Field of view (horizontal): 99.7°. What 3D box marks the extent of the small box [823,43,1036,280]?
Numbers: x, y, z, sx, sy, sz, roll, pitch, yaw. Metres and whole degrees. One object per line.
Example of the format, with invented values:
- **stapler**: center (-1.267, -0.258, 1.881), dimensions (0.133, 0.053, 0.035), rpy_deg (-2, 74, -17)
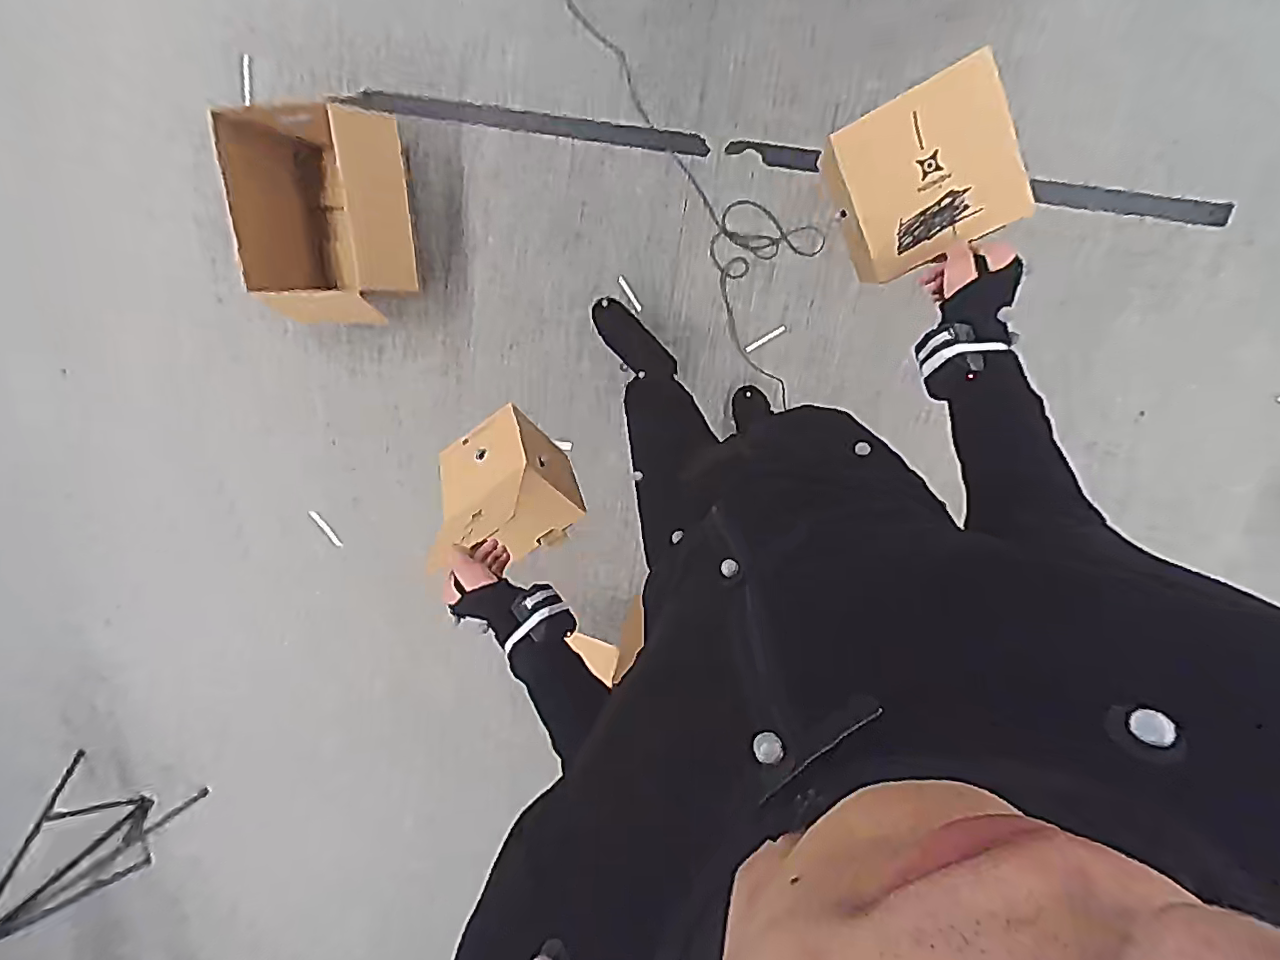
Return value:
- **small box**: center (0.335, -0.363, 0.657), dimensions (0.168, 0.176, 0.179), rpy_deg (-21, 103, 19)
